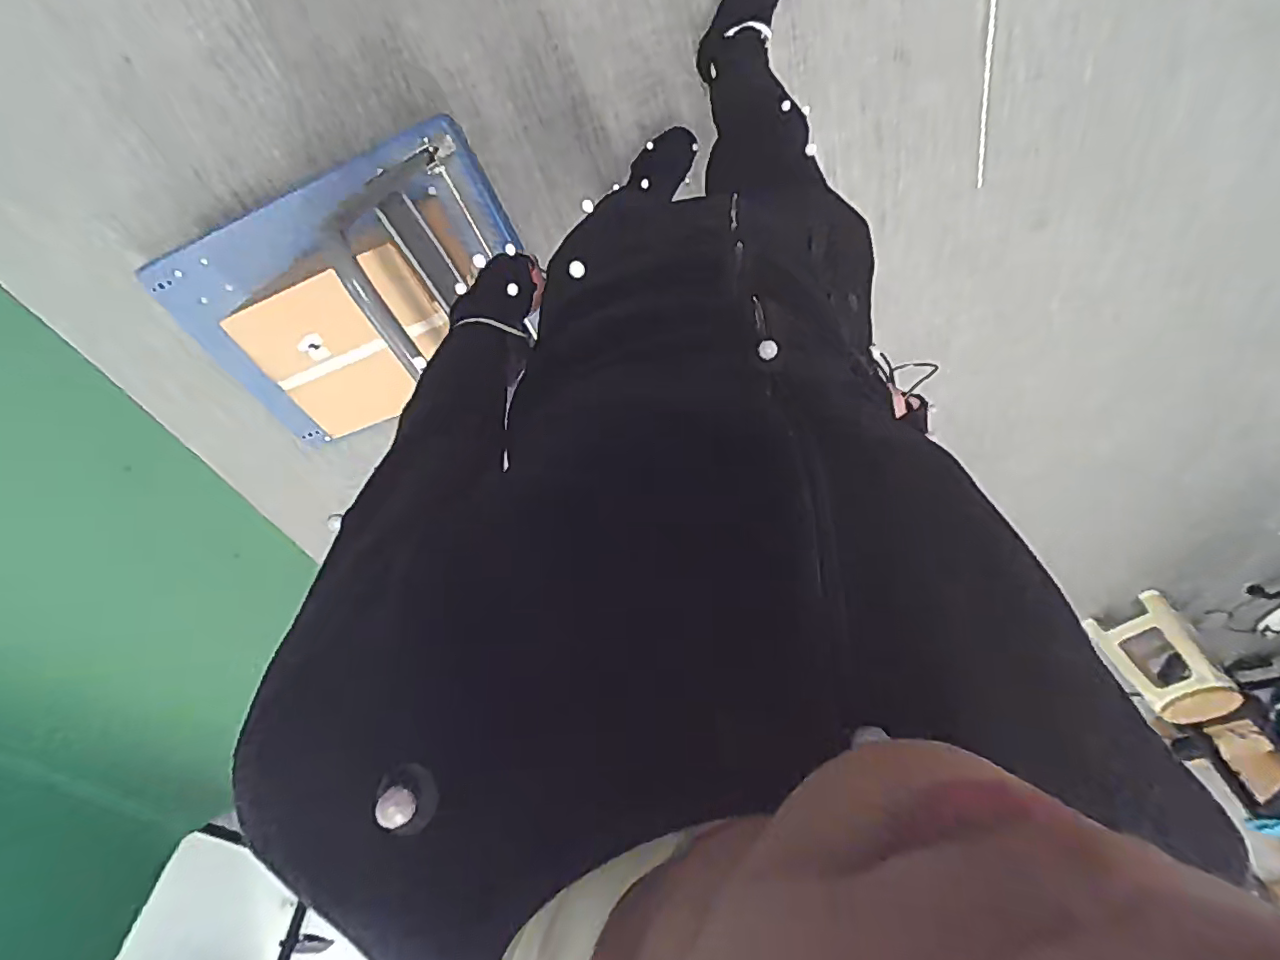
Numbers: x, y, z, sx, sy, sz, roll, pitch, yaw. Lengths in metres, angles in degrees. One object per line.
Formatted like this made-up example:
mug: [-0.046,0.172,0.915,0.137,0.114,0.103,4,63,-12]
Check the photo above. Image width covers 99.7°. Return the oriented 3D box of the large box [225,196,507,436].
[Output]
large box: [-0.566,-0.359,1.198,0.408,0.320,0.320,-16,130,13]
